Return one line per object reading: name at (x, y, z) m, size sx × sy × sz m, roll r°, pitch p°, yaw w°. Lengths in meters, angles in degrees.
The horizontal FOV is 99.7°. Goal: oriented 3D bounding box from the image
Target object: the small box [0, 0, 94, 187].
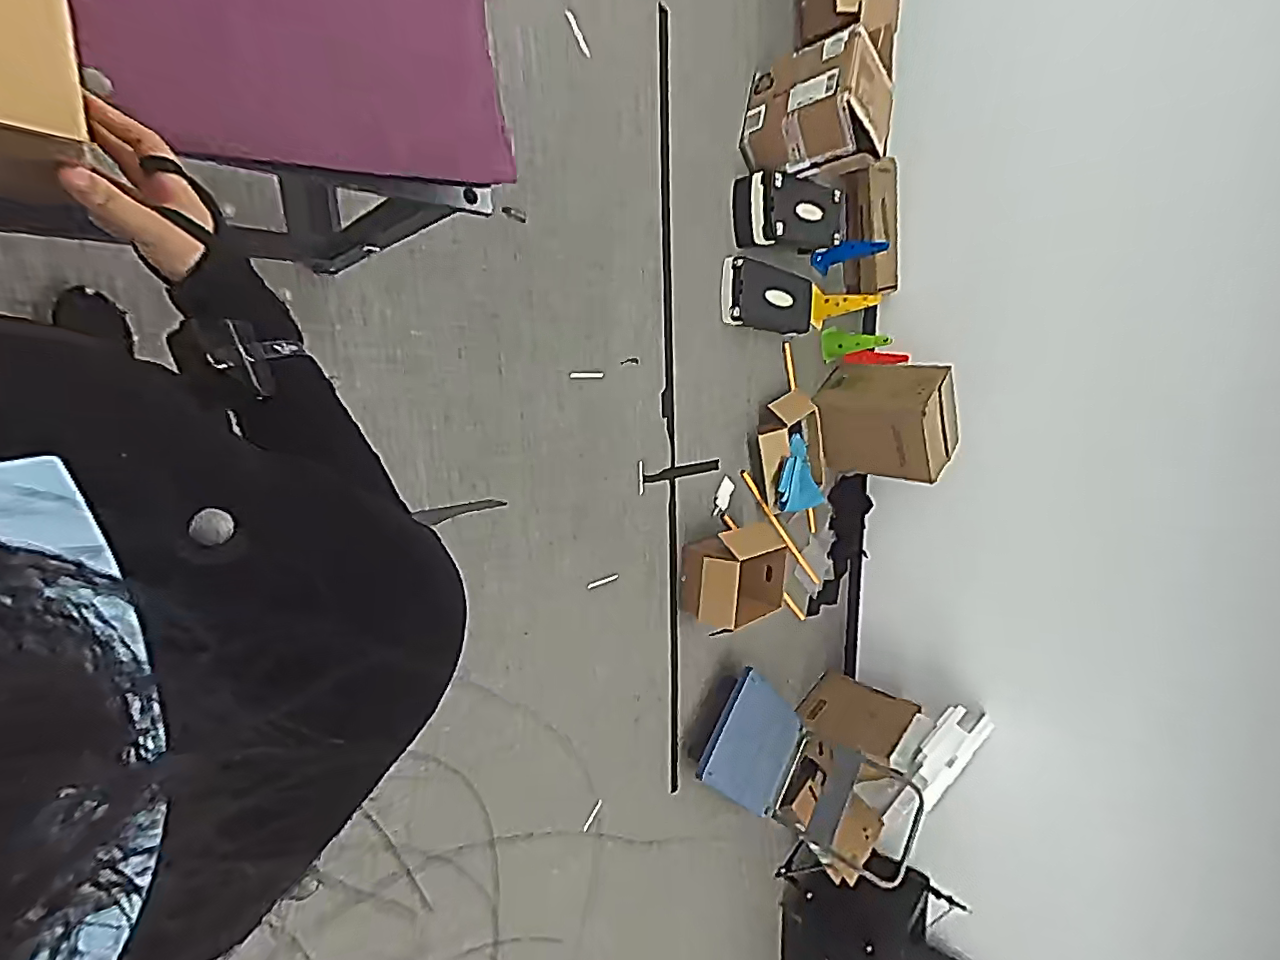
small box at (-0.423, -0.275, 0.285) m, size 0.179 × 0.176 × 0.168 m, roll -9°, pitch 104°, yaw -43°
